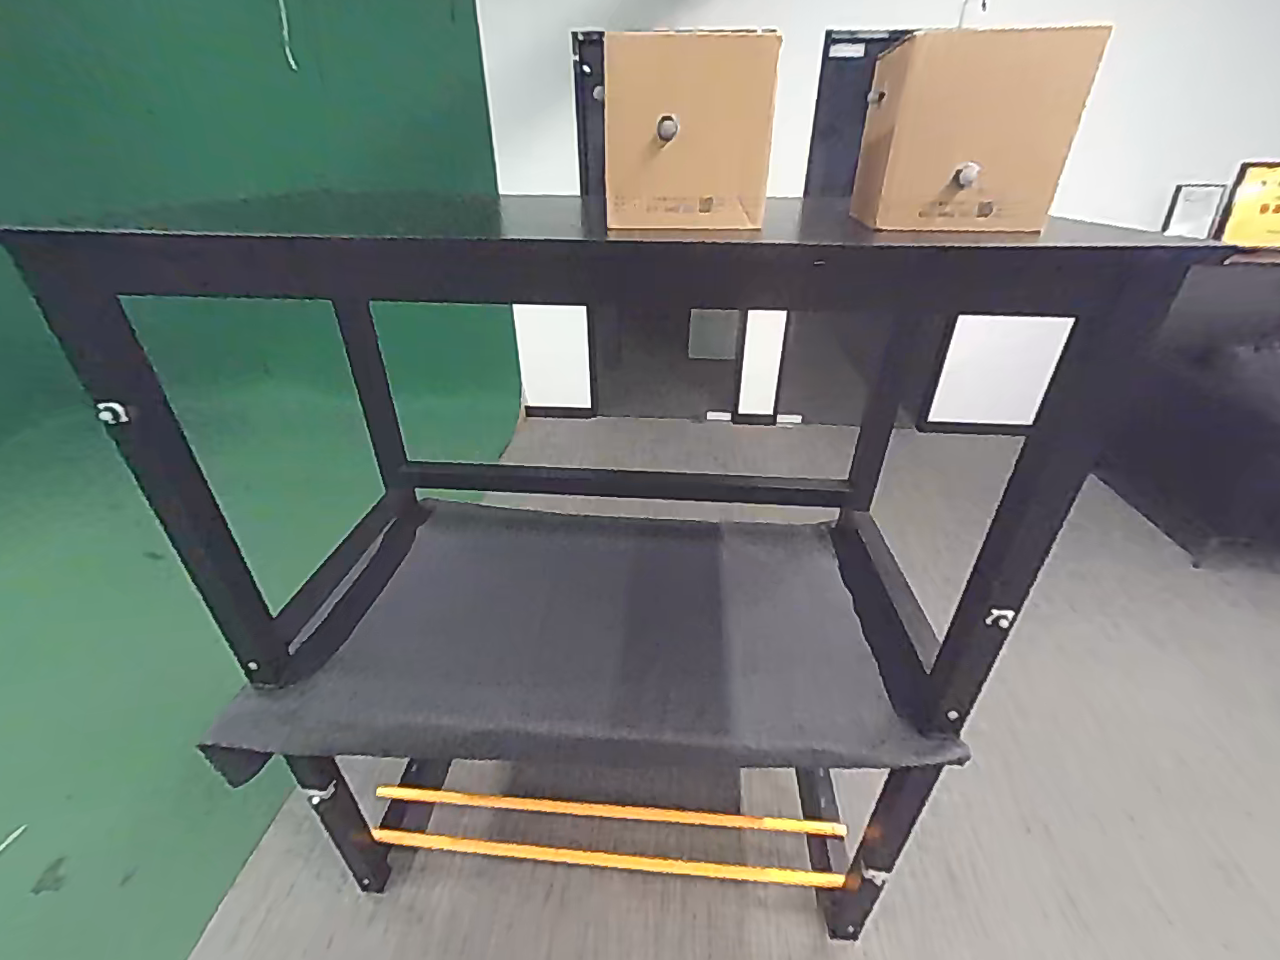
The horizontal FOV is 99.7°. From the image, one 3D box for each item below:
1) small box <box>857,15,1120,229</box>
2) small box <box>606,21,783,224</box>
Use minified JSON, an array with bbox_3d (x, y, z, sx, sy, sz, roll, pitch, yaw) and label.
[{"bbox_3d":[0.345,-0.377,0.585,0.168,0.176,0.179,5,32,9],"label":"small box"},{"bbox_3d":[0.052,-0.385,0.602,0.168,0.176,0.179,0,31,0],"label":"small box"}]
